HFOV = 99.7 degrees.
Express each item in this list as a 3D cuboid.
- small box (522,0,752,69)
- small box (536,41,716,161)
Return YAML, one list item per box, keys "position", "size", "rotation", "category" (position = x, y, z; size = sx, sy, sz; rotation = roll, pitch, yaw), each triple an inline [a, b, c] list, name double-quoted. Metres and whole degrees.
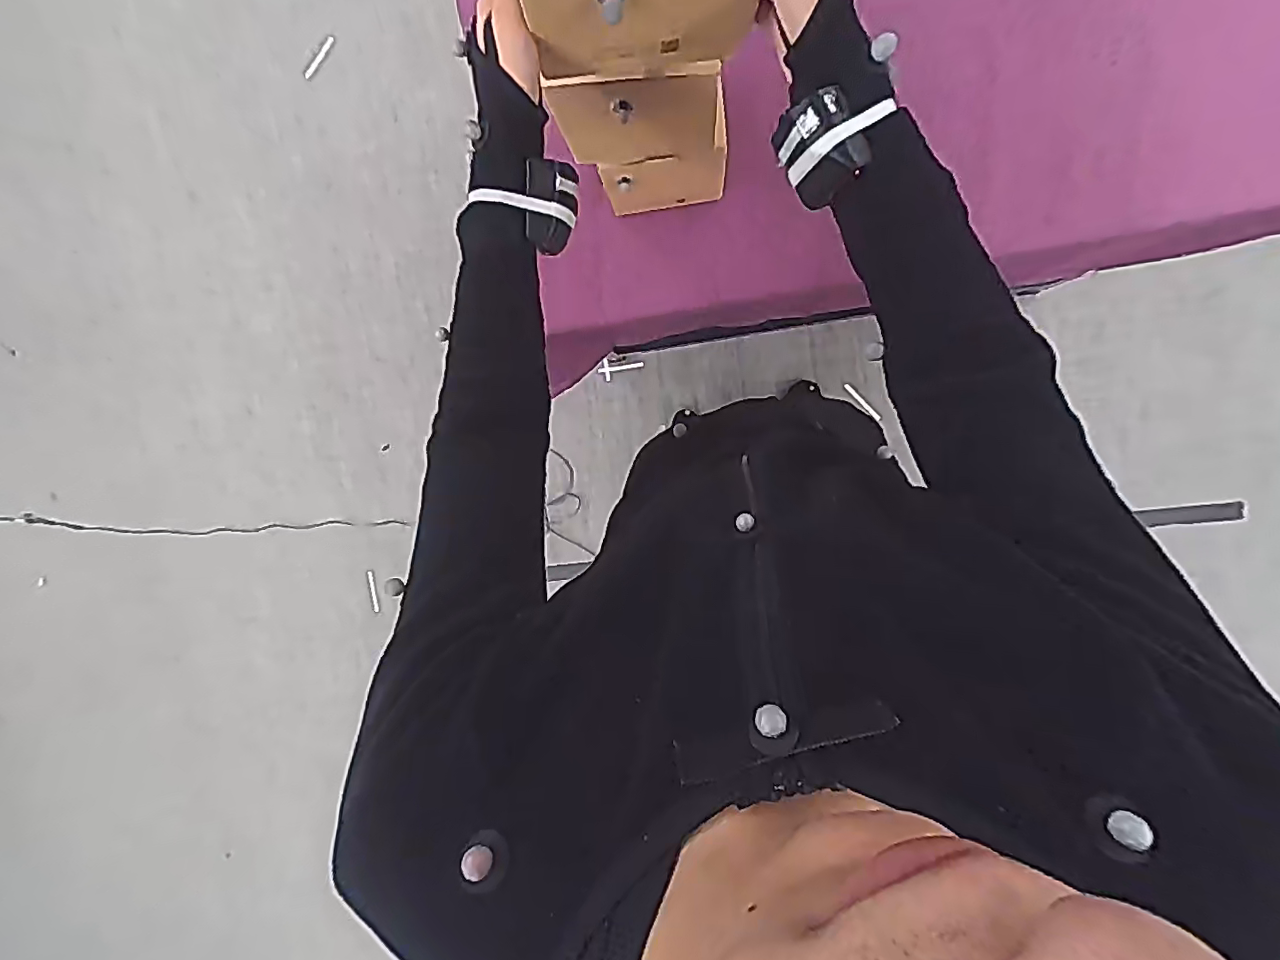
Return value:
- position: [-0.007, -0.407, 0.354]
  size: [0.168, 0.176, 0.179]
  rotation: [-7, 98, 1]
  category: "small box"
- position: [-0.007, -0.471, 0.587]
  size: [0.179, 0.176, 0.168]
  rotation: [0, 97, 5]
  category: "small box"
